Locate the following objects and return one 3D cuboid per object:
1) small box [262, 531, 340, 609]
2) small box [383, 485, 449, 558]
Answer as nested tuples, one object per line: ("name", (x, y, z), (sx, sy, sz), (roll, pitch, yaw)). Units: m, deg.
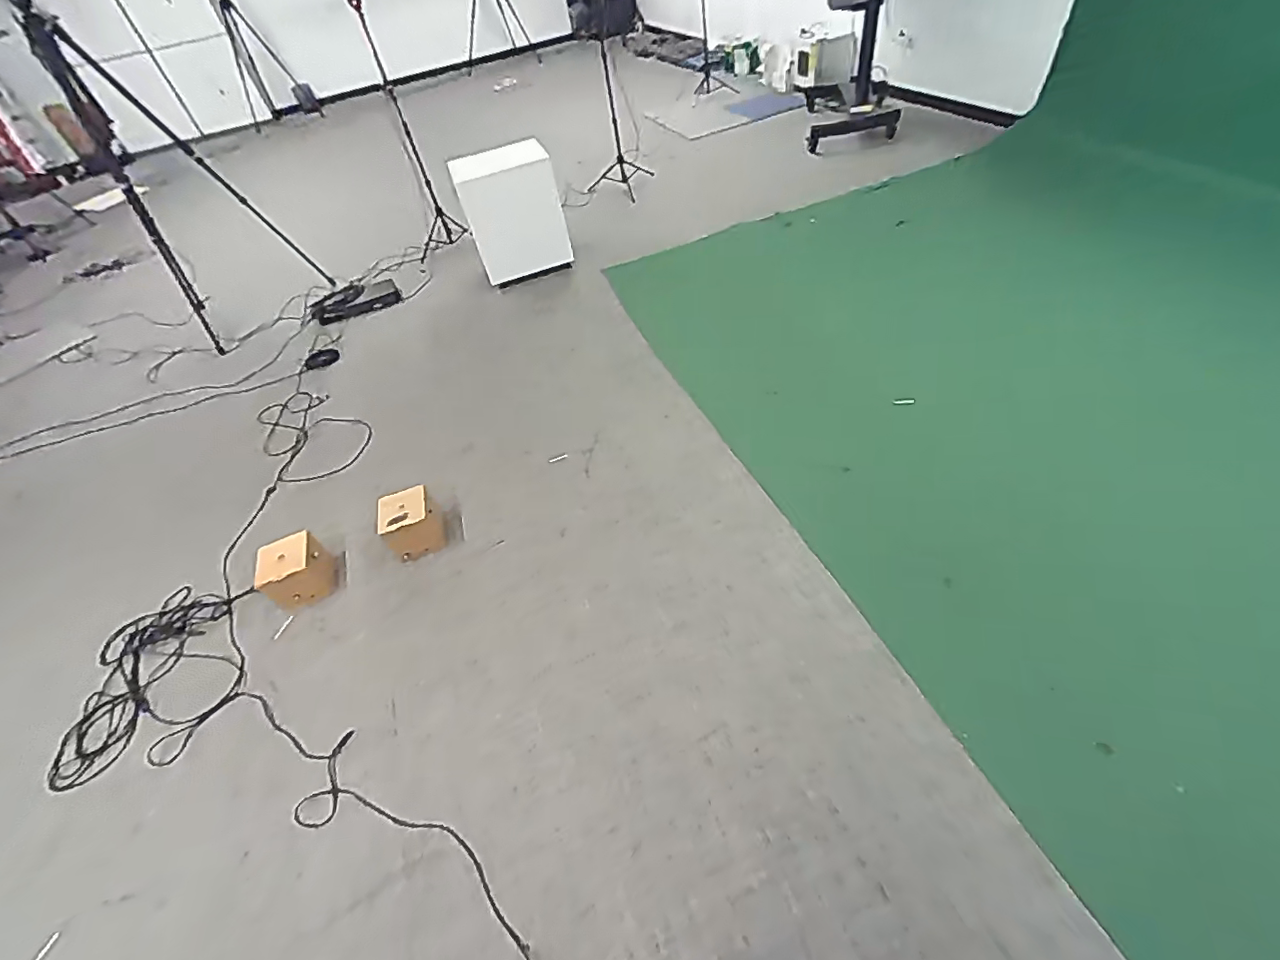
("small box", (-1.161, 0.312, 1.864), (0.168, 0.176, 0.179), (-23, 49, -9))
("small box", (-0.796, 0.156, 1.930), (0.168, 0.176, 0.179), (-19, 47, -6))
